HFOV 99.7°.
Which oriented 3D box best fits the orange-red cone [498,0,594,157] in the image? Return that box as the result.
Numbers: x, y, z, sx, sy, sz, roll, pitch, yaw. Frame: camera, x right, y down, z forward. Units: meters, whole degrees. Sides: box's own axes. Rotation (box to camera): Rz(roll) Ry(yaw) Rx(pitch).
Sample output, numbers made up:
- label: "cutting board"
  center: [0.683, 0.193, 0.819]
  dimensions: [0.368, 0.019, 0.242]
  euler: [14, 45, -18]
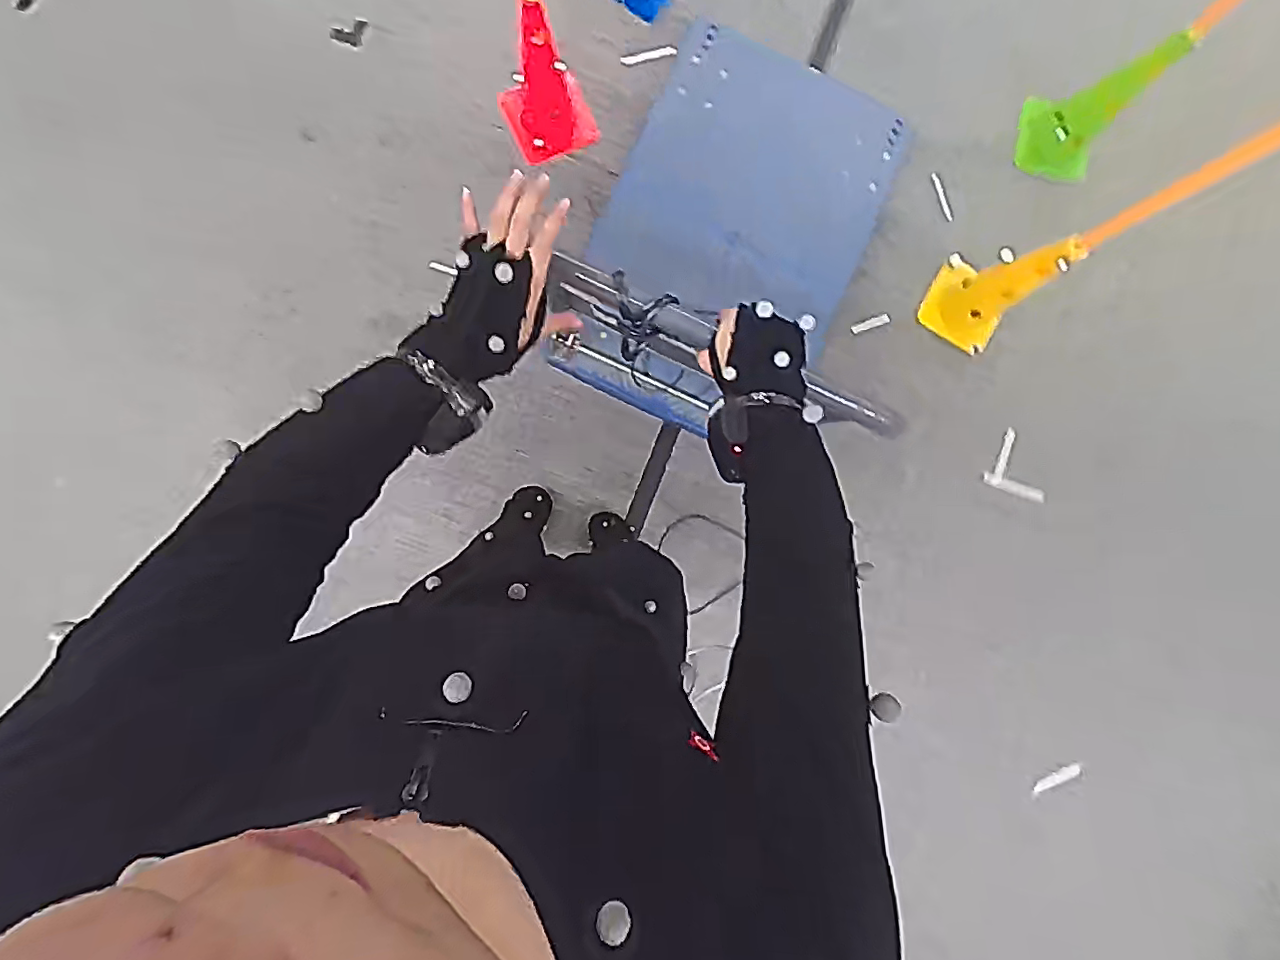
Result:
- label: "orange-red cone"
  center: [-0.222, -0.929, 1.188]
  dimensions: [0.199, 0.360, 0.198]
  euler: [-24, 92, -5]

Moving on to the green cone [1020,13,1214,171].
- label: "green cone"
  center: [1.124, -0.930, 1.265]
  dimensions: [0.200, 0.368, 0.202]
  euler: [7, 91, -3]

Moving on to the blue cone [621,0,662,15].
- label: "blue cone"
  center: [0.006, -1.309, 1.218]
  dimensions: [0.193, 0.380, 0.192]
  euler: [36, 89, -3]
